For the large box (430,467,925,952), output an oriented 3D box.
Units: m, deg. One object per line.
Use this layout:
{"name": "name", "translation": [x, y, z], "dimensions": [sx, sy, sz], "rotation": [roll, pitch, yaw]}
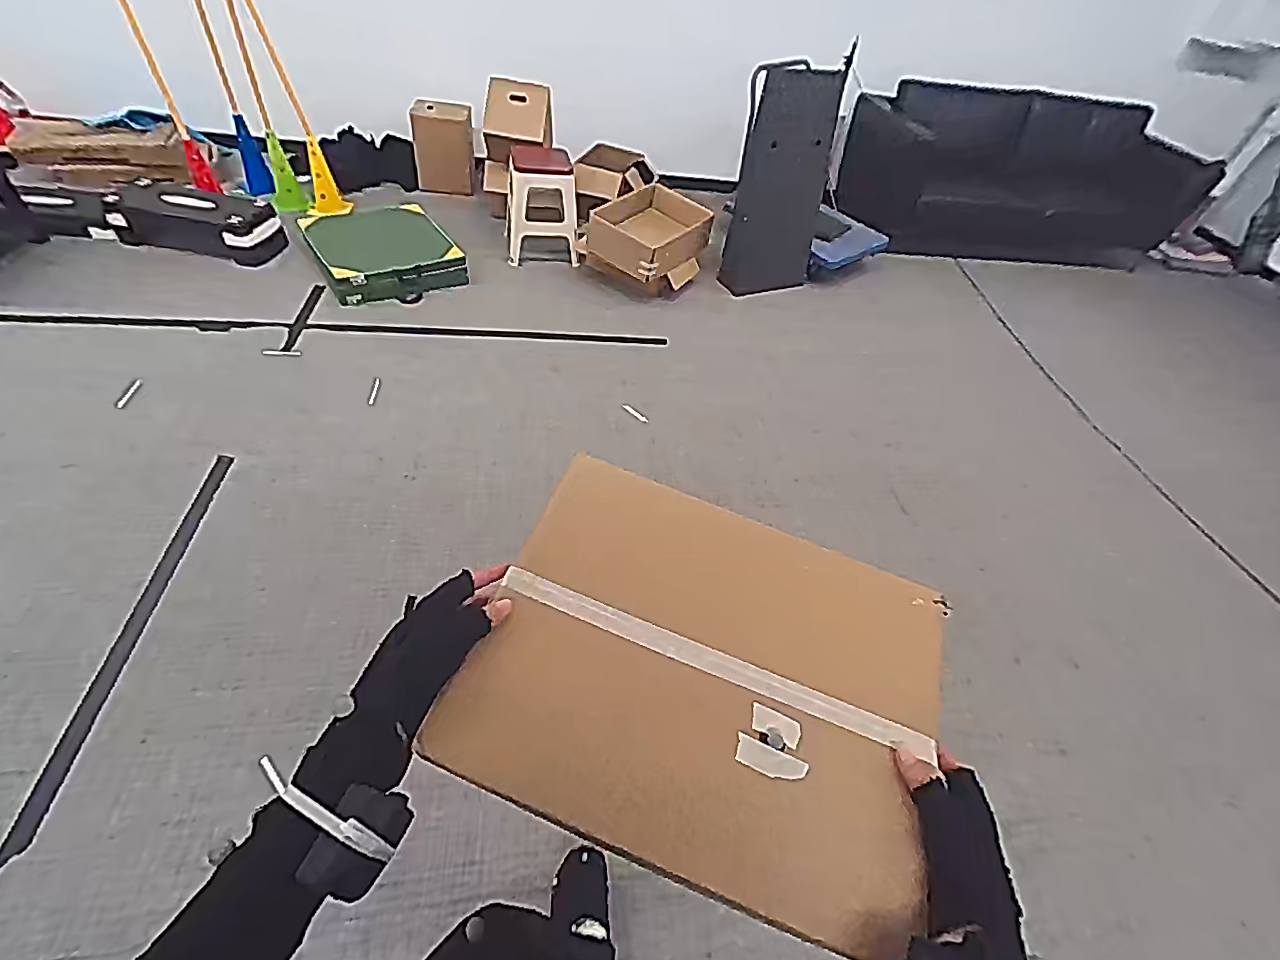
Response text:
{"name": "large box", "translation": [0.042, 0.248, 0.625], "dimensions": [0.408, 0.320, 0.320], "rotation": [22, 58, 5]}
